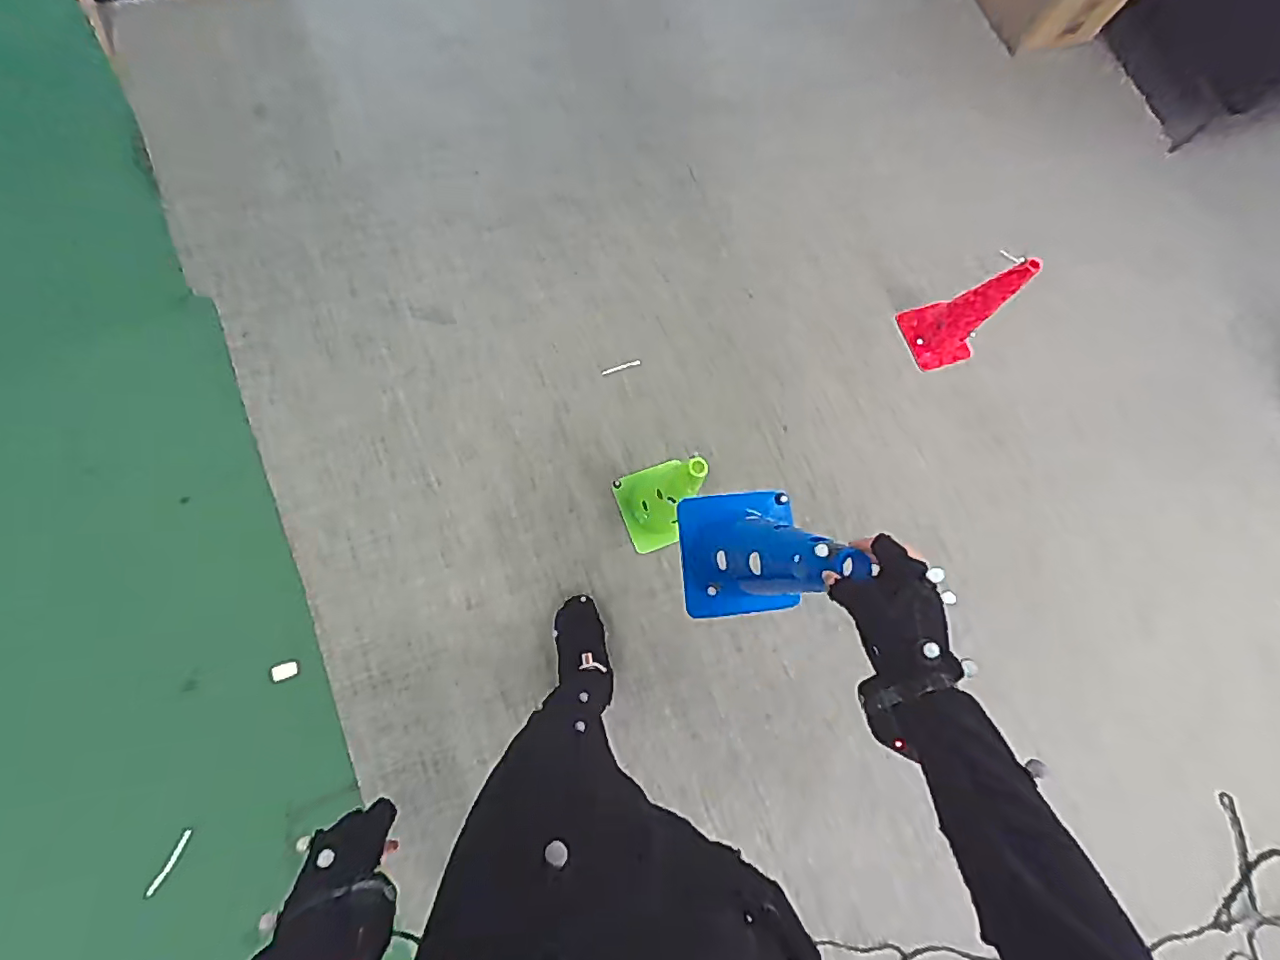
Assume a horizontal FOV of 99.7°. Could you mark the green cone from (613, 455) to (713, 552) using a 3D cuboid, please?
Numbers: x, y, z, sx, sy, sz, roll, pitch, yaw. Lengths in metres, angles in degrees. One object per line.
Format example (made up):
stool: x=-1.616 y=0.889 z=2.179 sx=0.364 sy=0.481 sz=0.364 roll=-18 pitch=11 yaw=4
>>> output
green cone: x=0.083 y=0.019 z=1.192 sx=0.202 sy=0.368 sz=0.200 roll=-21 pitch=81 yaw=-15
